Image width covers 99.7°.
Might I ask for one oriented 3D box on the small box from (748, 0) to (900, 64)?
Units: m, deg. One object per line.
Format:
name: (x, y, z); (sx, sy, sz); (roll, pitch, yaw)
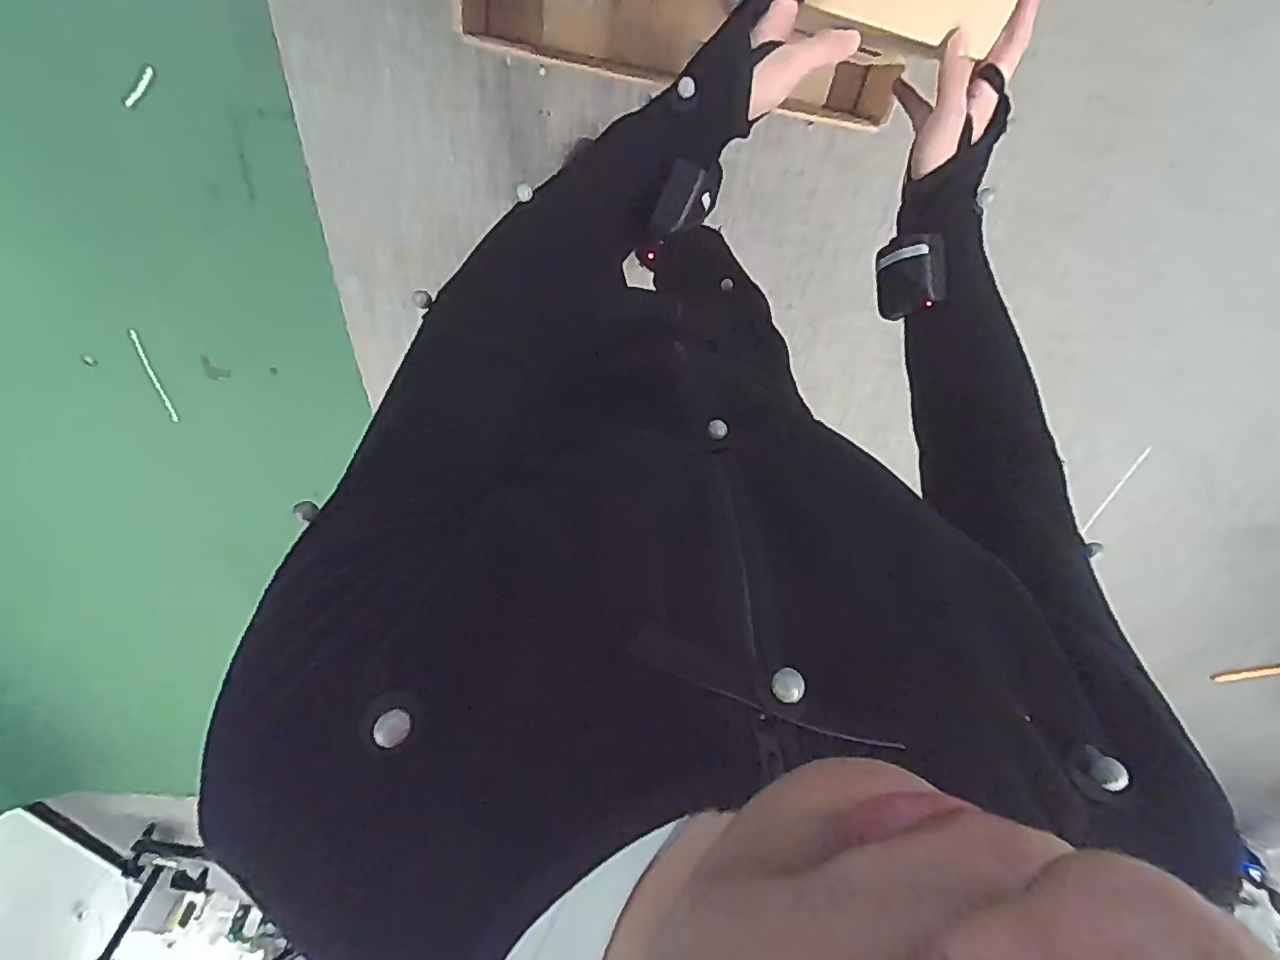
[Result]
small box: (0.223, -0.574, 0.580); (0.168, 0.176, 0.179); (11, 126, -6)

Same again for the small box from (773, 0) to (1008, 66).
small box: (0.222, -0.474, 0.452); (0.168, 0.176, 0.179); (11, 127, -6)
